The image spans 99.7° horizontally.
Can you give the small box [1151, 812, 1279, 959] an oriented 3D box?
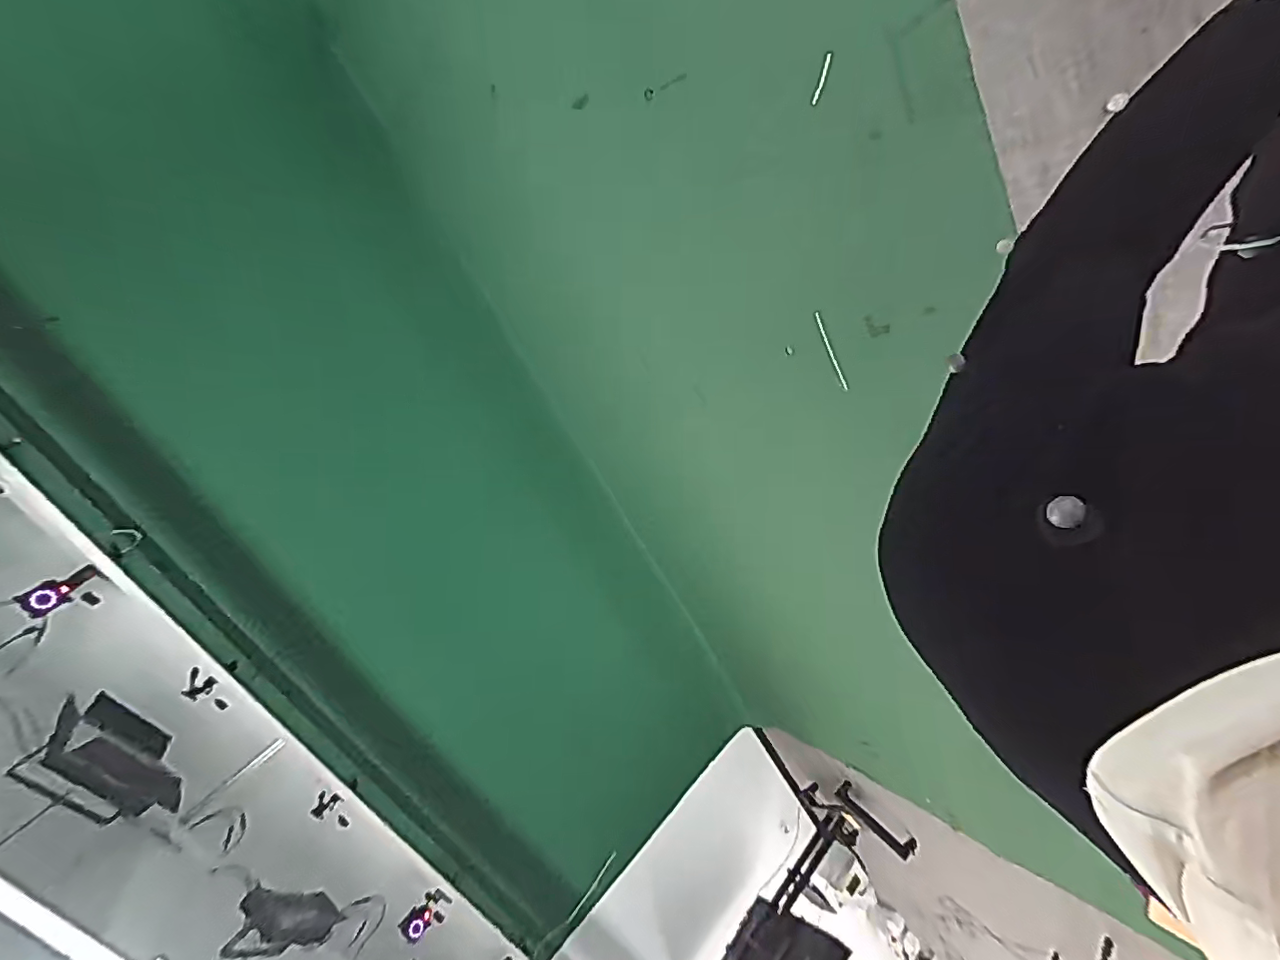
[{"bbox_3d":[1.142,0.790,1.055,0.179,0.176,0.168,14,138,52],"label":"small box"}]
